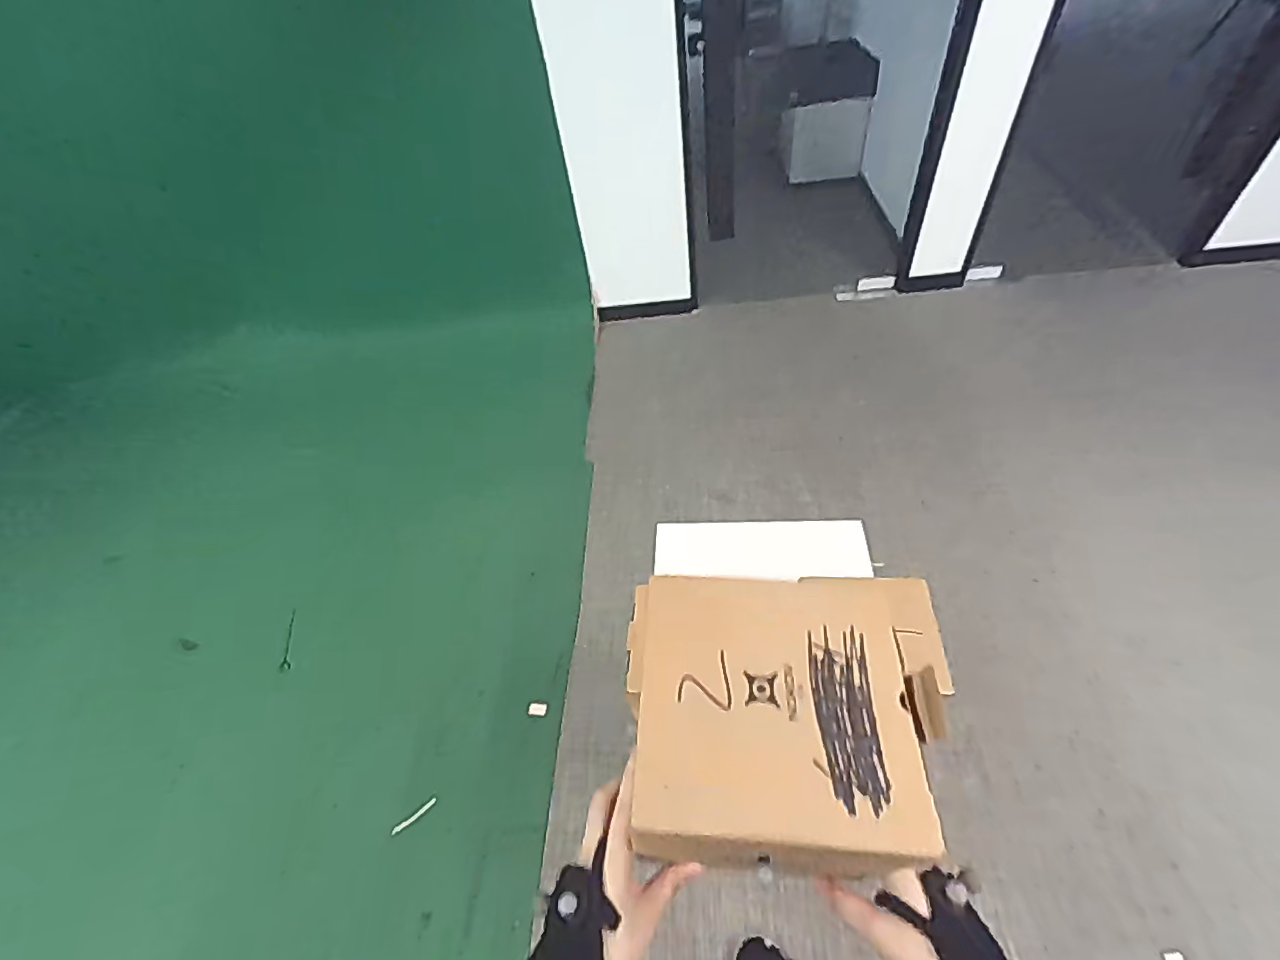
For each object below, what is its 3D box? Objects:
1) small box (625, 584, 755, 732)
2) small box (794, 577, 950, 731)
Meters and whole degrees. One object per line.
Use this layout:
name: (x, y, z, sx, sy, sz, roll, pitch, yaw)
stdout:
small box: (0.082, 0.273, 0.826, 0.179, 0.176, 0.168, 0, 50, 8)
small box: (0.324, 0.259, 0.800, 0.179, 0.176, 0.168, 0, 50, 9)
